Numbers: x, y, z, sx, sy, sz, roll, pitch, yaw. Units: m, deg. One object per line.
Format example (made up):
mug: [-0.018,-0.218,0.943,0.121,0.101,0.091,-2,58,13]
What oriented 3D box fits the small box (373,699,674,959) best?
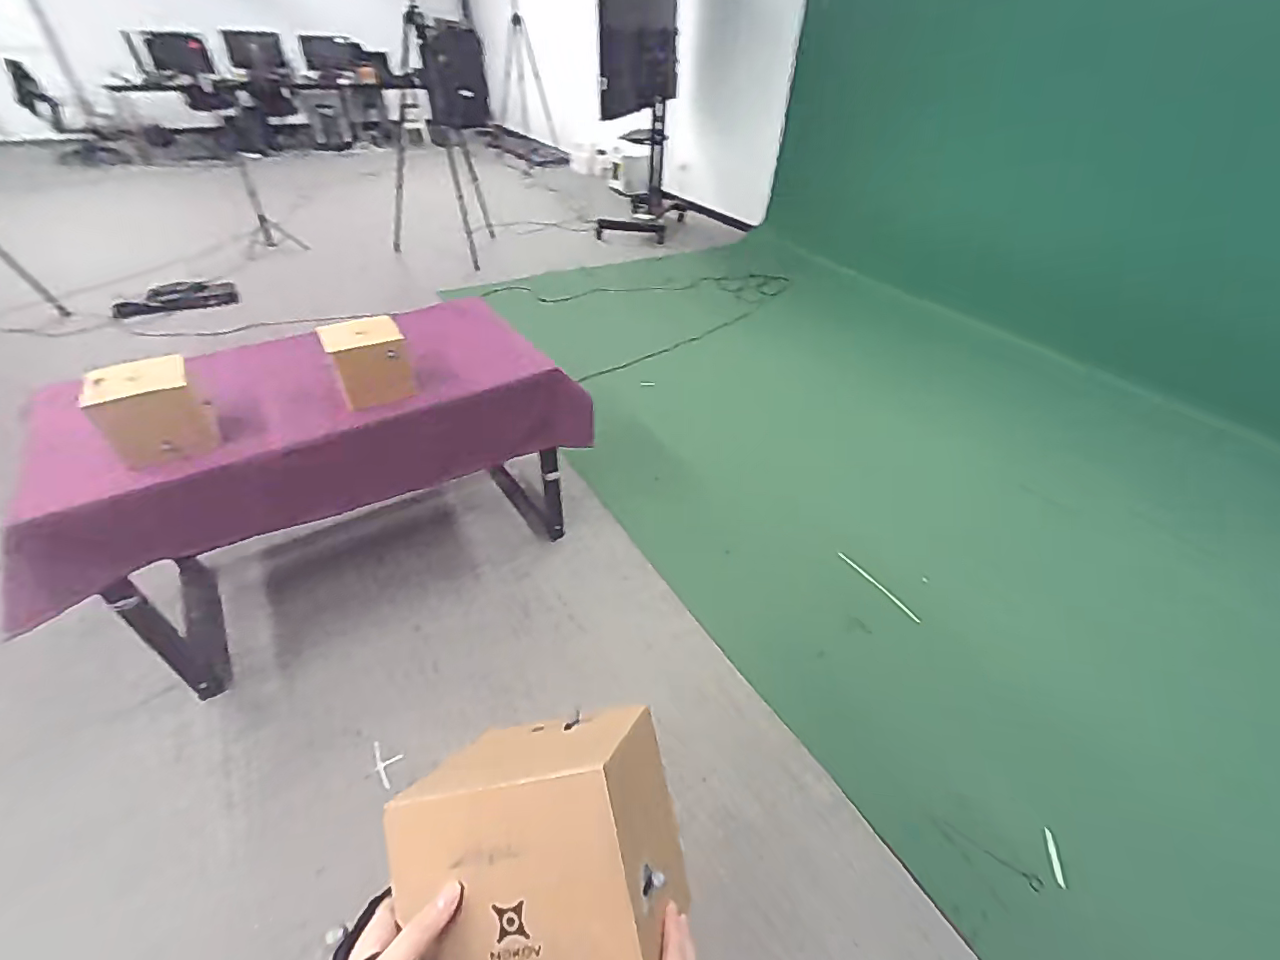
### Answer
small box: [-0.076,0.297,0.431,0.168,0.176,0.179,-15,79,9]

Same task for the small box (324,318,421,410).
small box: [-0.703,-0.305,1.428,0.179,0.176,0.168,-20,45,-25]

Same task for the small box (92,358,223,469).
small box: [-1.076,-0.151,1.224,0.179,0.176,0.168,-21,45,-26]
